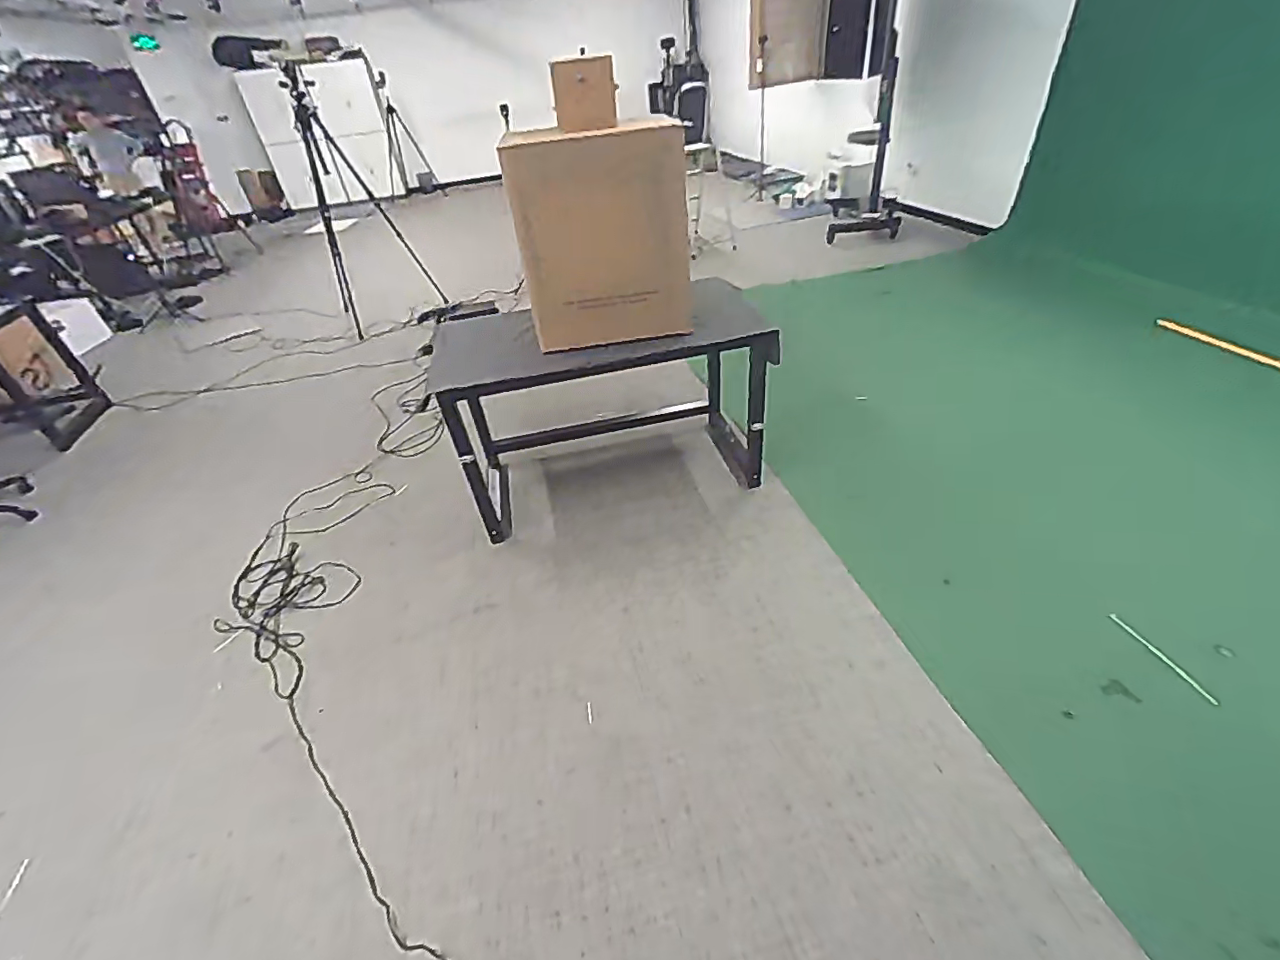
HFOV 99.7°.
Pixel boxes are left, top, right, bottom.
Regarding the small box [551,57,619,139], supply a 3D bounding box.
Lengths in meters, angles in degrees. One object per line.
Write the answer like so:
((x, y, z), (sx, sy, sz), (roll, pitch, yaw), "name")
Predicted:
((-0.155, -1.103, 1.562), (0.179, 0.176, 0.168), (-8, 40, -1), "small box")
